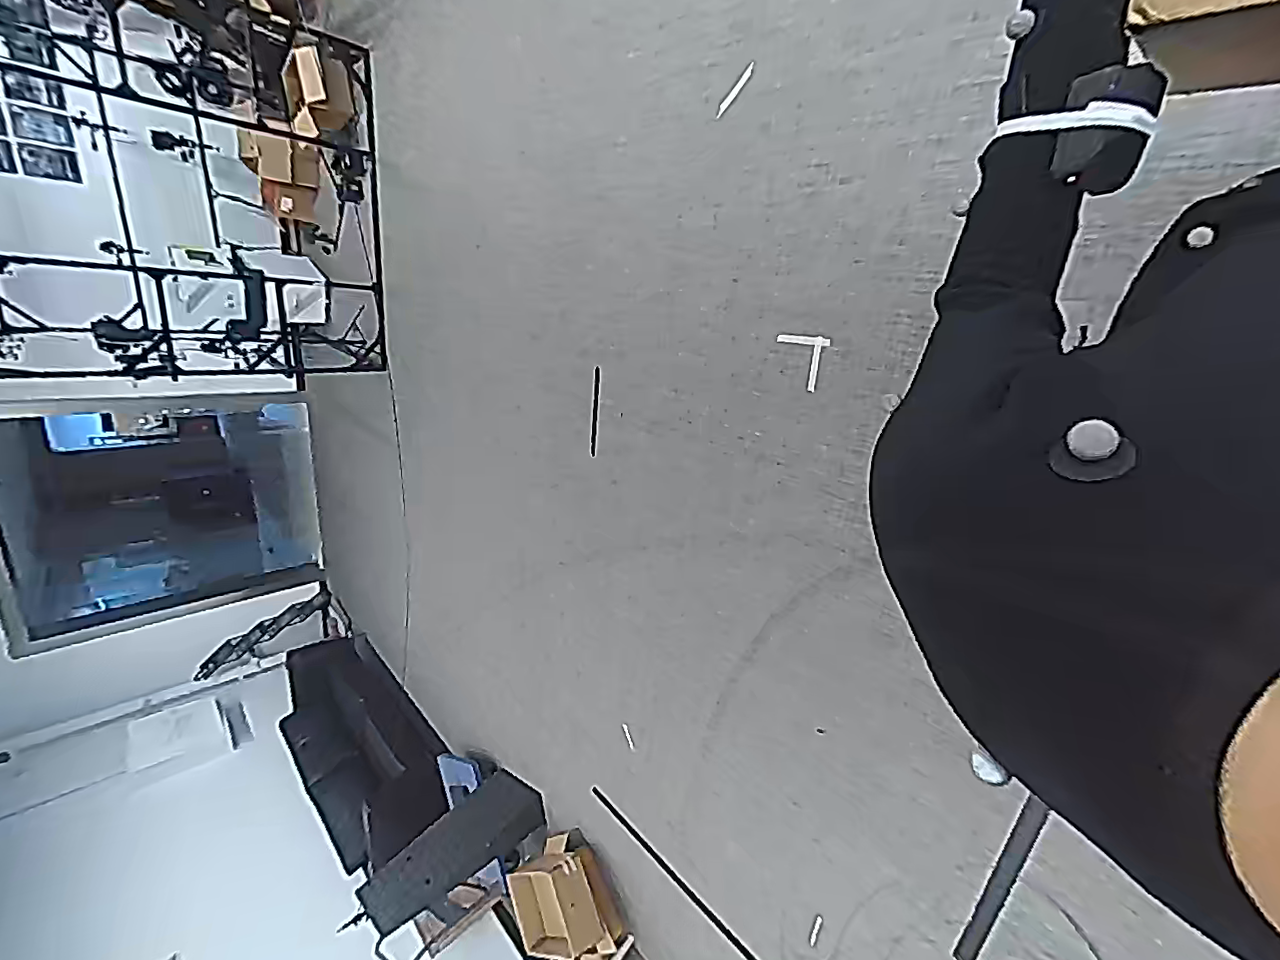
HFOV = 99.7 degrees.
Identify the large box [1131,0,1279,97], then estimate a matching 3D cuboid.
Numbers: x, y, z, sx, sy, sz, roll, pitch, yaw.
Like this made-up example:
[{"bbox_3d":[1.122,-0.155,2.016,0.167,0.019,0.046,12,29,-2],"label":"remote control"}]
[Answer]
[{"bbox_3d":[0.562,-0.428,0.266,0.408,0.320,0.320,21,124,40],"label":"large box"}]
